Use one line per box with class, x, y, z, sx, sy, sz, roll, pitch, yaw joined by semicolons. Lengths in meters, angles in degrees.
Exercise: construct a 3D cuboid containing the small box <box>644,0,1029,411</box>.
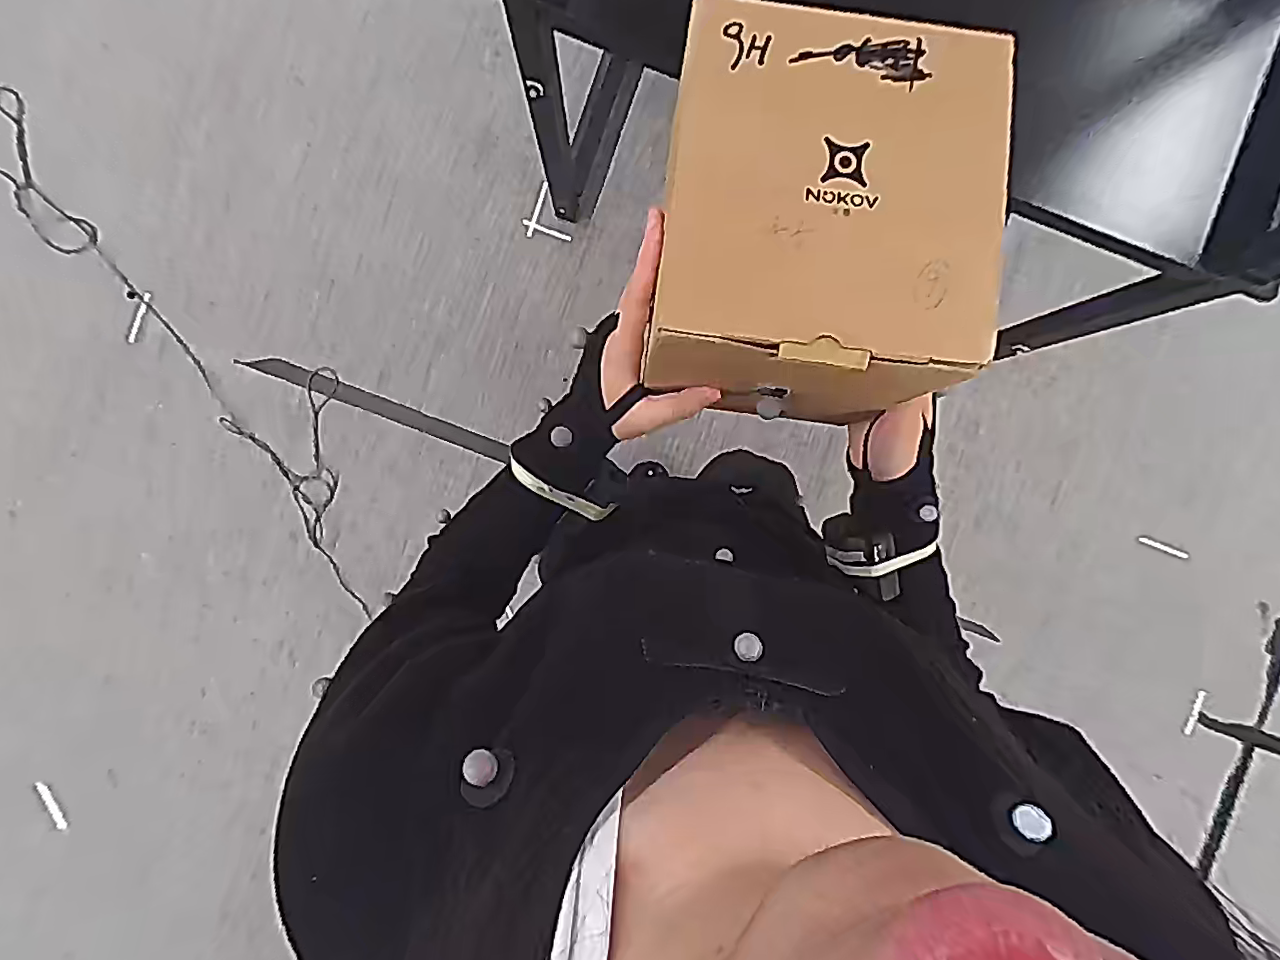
small box;0.095;-0.144;0.338;0.168;0.176;0.179;6;88;-3
